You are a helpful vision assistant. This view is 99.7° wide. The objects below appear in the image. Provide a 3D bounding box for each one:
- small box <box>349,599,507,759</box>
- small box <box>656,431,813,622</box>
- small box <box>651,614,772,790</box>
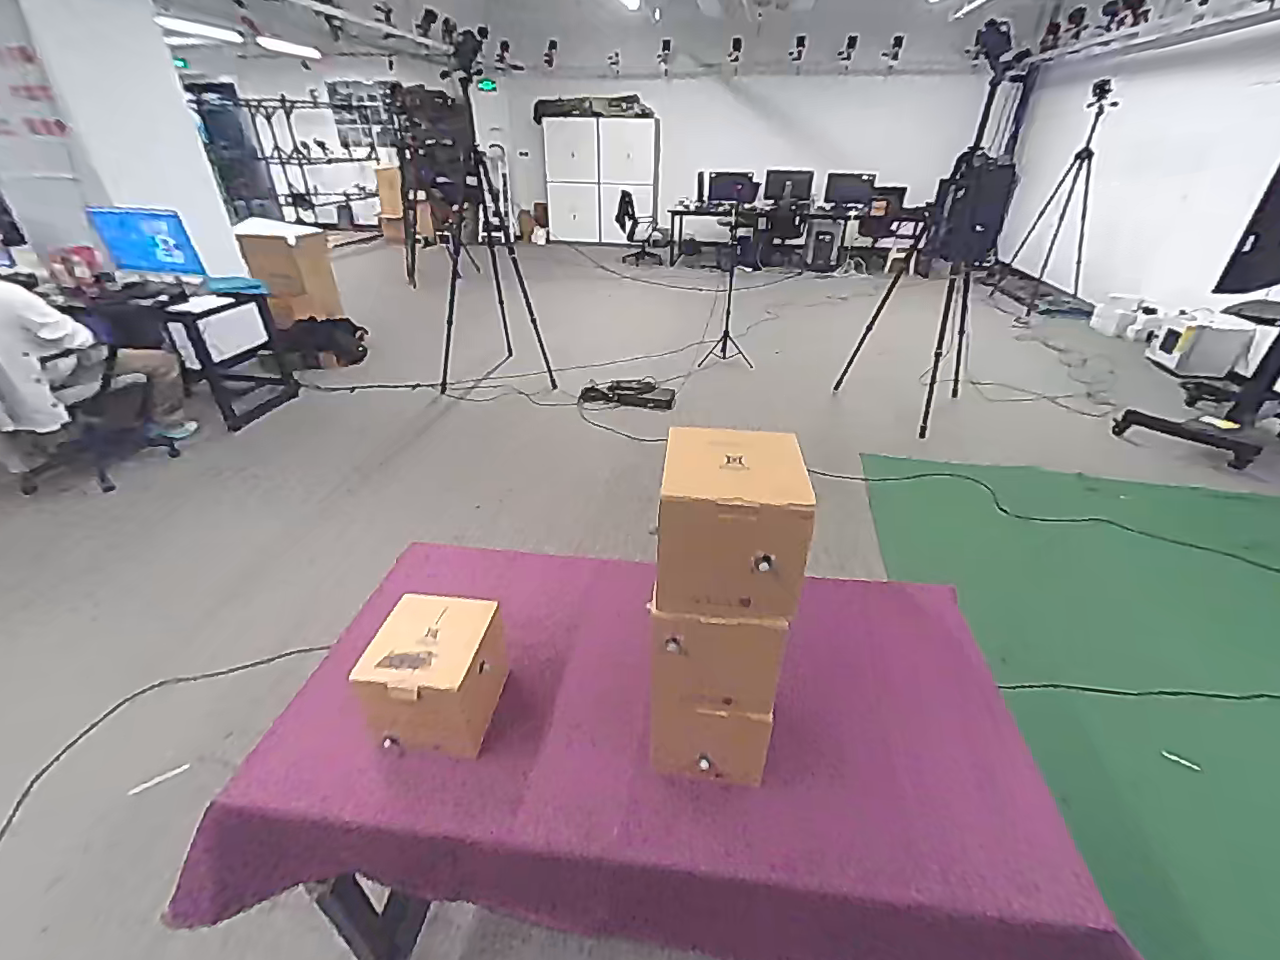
[{"bbox_3d":[-0.323,0.317,0.869,0.168,0.176,0.179,4,31,5],"label":"small box"},{"bbox_3d":[0.109,0.054,0.672,0.168,0.176,0.179,4,31,5],"label":"small box"},{"bbox_3d":[0.109,0.338,0.836,0.168,0.176,0.179,5,32,8],"label":"small box"}]
